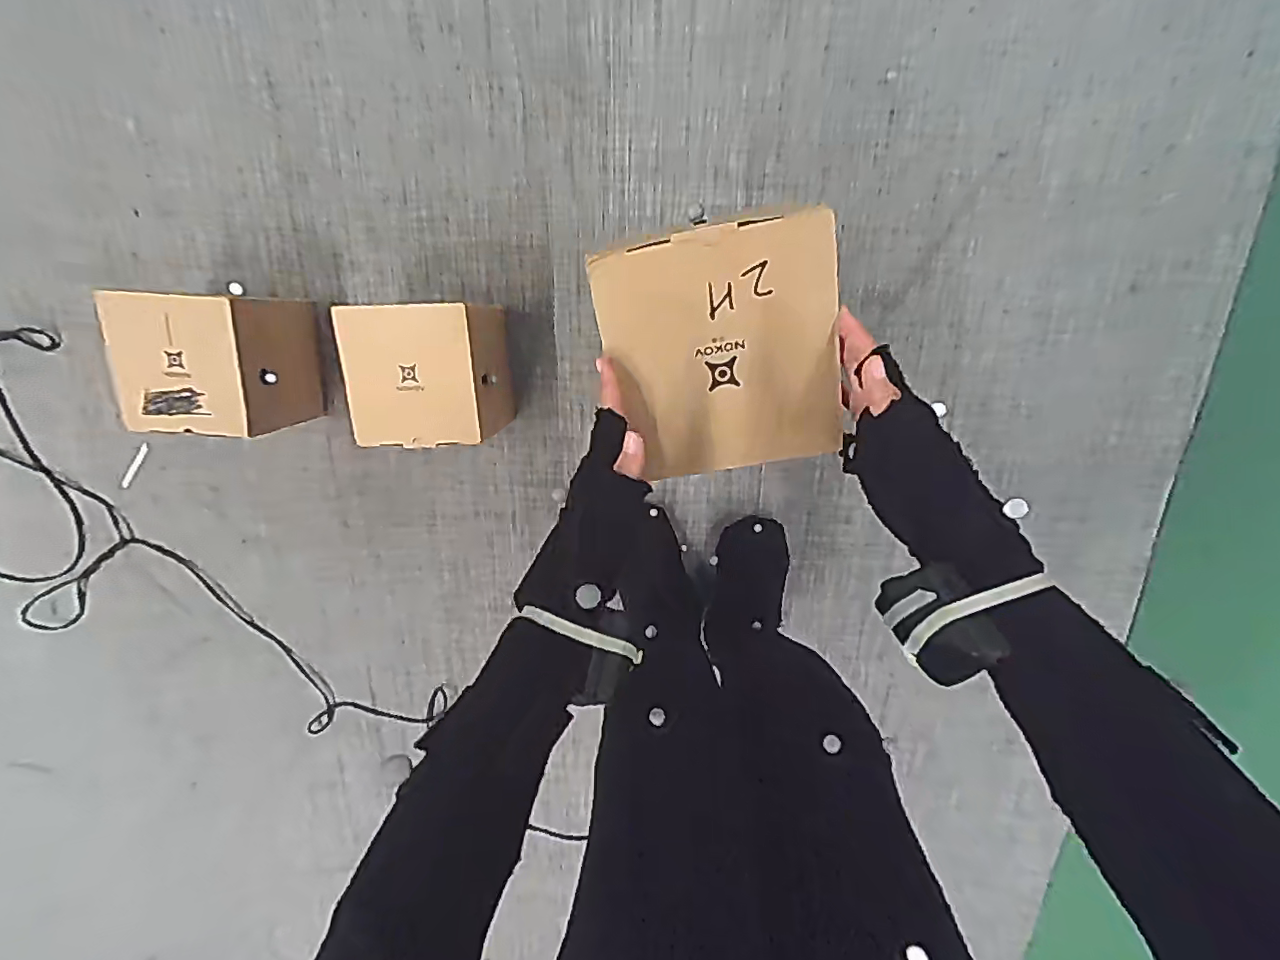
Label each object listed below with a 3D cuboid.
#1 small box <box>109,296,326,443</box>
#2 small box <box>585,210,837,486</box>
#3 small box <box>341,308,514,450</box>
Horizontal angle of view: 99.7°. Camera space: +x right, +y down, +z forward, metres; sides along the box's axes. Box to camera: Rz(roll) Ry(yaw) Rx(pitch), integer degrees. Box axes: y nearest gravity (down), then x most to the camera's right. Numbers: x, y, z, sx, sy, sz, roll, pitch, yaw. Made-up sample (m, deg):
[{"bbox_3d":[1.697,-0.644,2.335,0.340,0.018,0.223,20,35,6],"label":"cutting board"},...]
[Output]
[{"bbox_3d":[-0.572,-0.160,0.762,0.168,0.176,0.179,4,106,1],"label":"small box"},{"bbox_3d":[0.061,-0.119,0.463,0.168,0.176,0.179,-10,117,7],"label":"small box"},{"bbox_3d":[-0.282,-0.147,0.759,0.168,0.176,0.179,-1,108,2],"label":"small box"}]
